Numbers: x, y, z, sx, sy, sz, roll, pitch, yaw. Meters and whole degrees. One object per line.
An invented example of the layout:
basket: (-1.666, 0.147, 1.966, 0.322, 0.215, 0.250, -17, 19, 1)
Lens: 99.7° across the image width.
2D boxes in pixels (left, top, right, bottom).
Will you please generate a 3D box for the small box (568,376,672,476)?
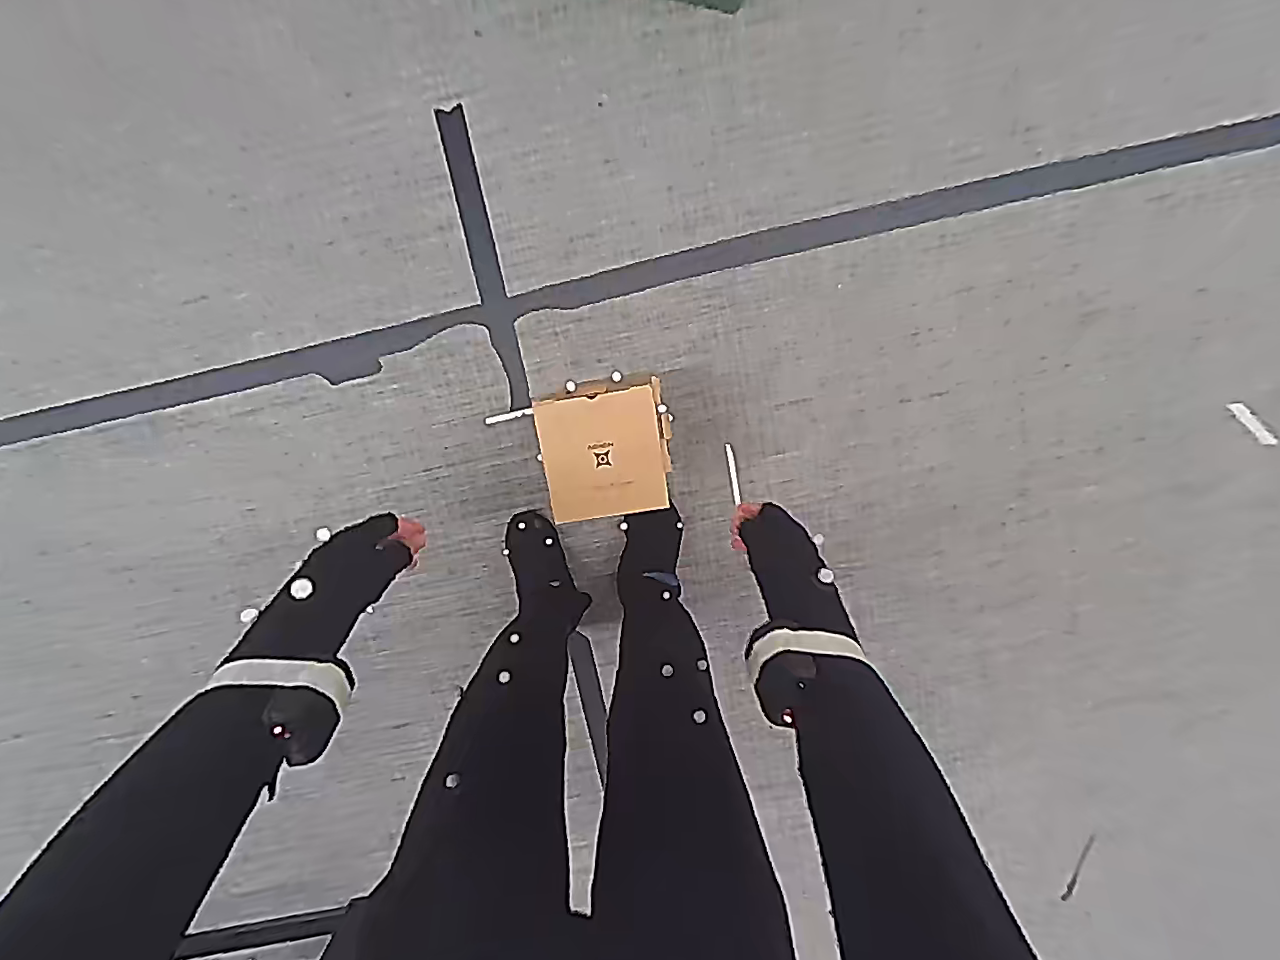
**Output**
small box: (-0.044, -0.094, 0.979, 0.179, 0.176, 0.168, -8, 103, 0)

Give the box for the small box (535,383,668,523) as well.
small box: (-0.052, -0.050, 0.822, 0.168, 0.176, 0.179, -8, 105, 3)
